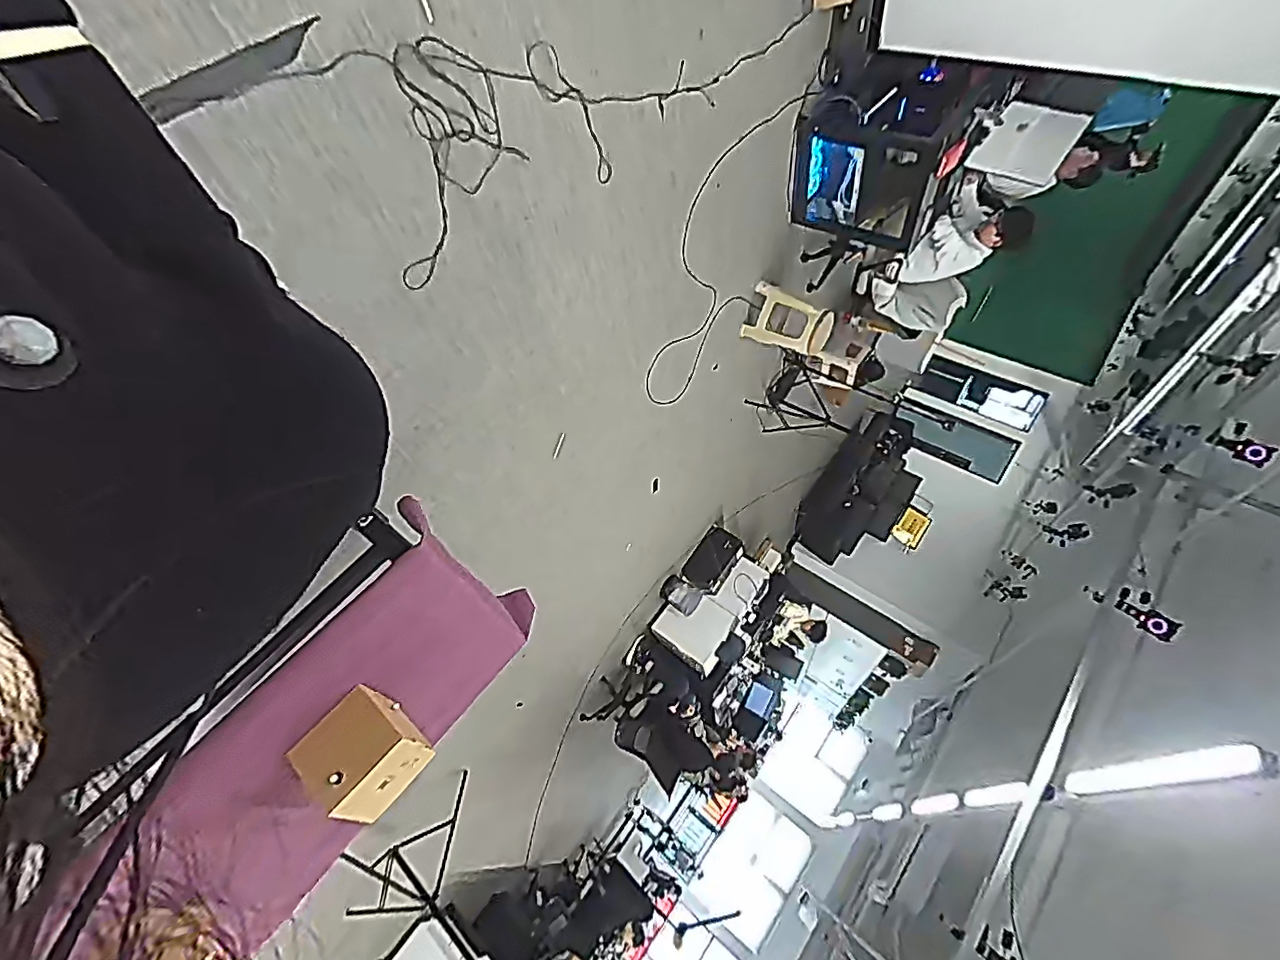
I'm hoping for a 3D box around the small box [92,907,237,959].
[{"bbox_3d":[-0.862,0.903,0.961,0.168,0.176,0.179,-47,150,-23],"label":"small box"}]

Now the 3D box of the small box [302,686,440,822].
[{"bbox_3d":[-0.565,0.569,1.129,0.179,0.176,0.168,-47,151,-24],"label":"small box"}]
